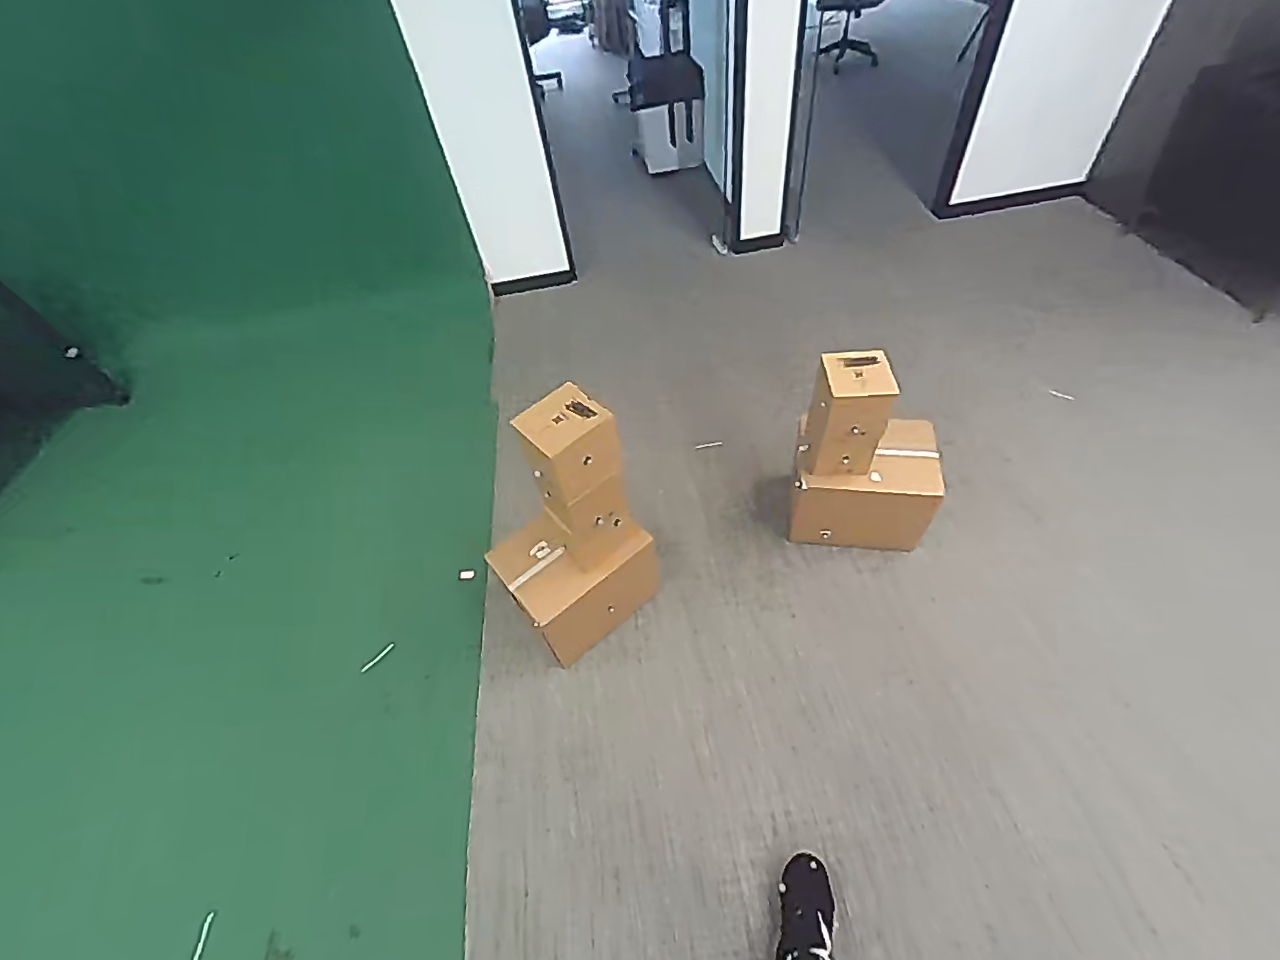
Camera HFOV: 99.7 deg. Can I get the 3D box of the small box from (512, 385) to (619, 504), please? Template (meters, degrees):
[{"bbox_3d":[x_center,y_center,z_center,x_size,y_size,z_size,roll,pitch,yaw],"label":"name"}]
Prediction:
[{"bbox_3d":[-0.163,-0.081,1.251,0.179,0.176,0.168,-38,55,-20],"label":"small box"}]

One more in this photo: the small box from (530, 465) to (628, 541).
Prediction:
[{"bbox_3d":[-0.151,0.021,1.378,0.168,0.176,0.179,-36,55,-20],"label":"small box"}]

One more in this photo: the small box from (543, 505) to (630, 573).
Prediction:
[{"bbox_3d":[-0.140,0.122,1.505,0.179,0.176,0.168,-37,55,-21],"label":"small box"}]

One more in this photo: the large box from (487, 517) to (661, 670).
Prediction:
[{"bbox_3d":[-0.189,0.302,1.684,0.408,0.320,0.320,-37,54,-20],"label":"large box"}]

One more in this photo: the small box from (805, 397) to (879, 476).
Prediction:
[{"bbox_3d":[0.595,-0.124,1.612,0.168,0.176,0.179,-1,51,6],"label":"small box"}]
